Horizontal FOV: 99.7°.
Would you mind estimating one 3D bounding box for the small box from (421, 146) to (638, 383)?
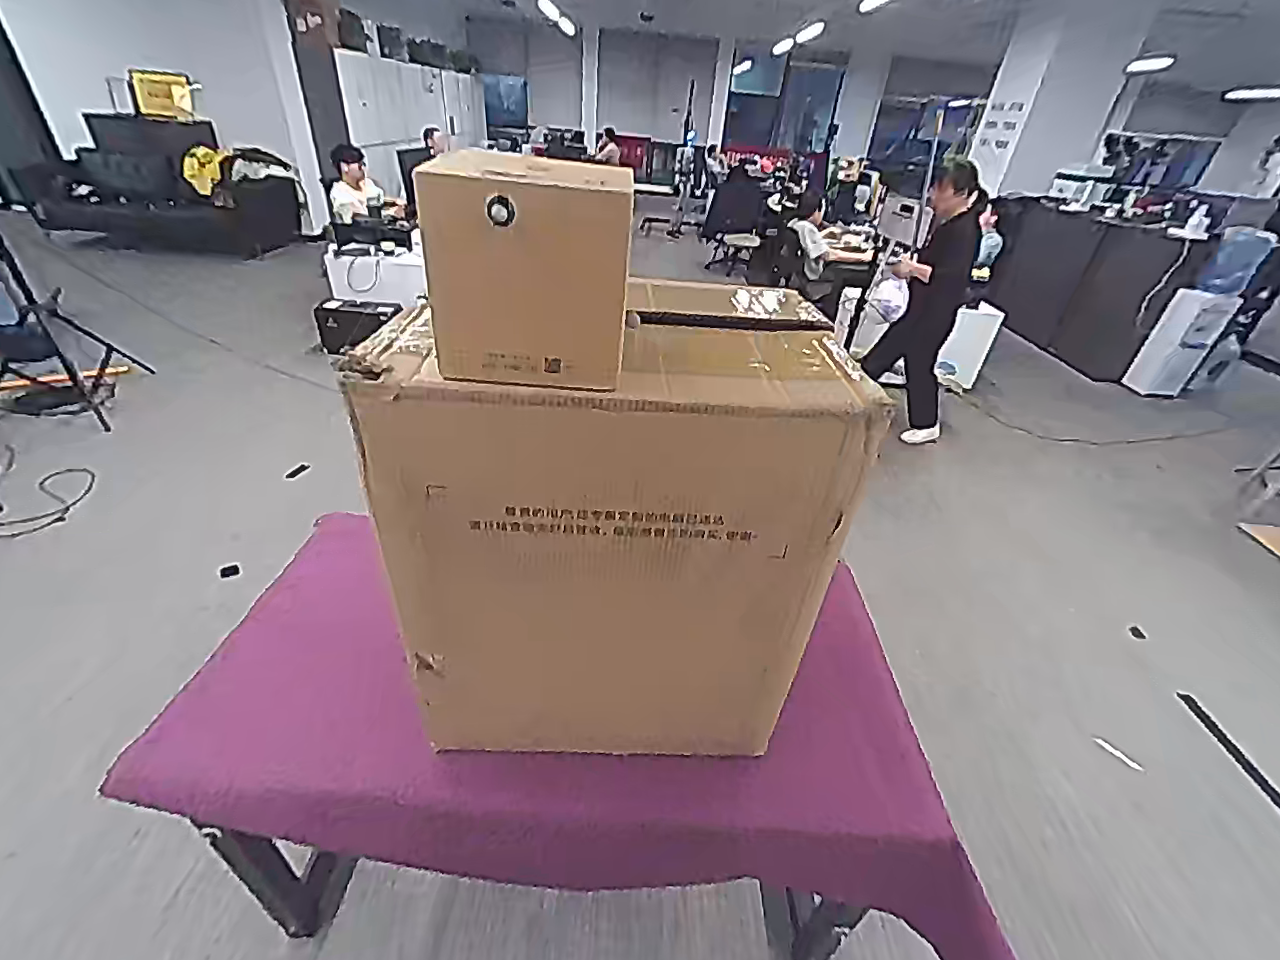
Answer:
[{"bbox_3d":[-0.091,-0.208,0.515,0.168,0.176,0.179,4,34,-4],"label":"small box"}]
